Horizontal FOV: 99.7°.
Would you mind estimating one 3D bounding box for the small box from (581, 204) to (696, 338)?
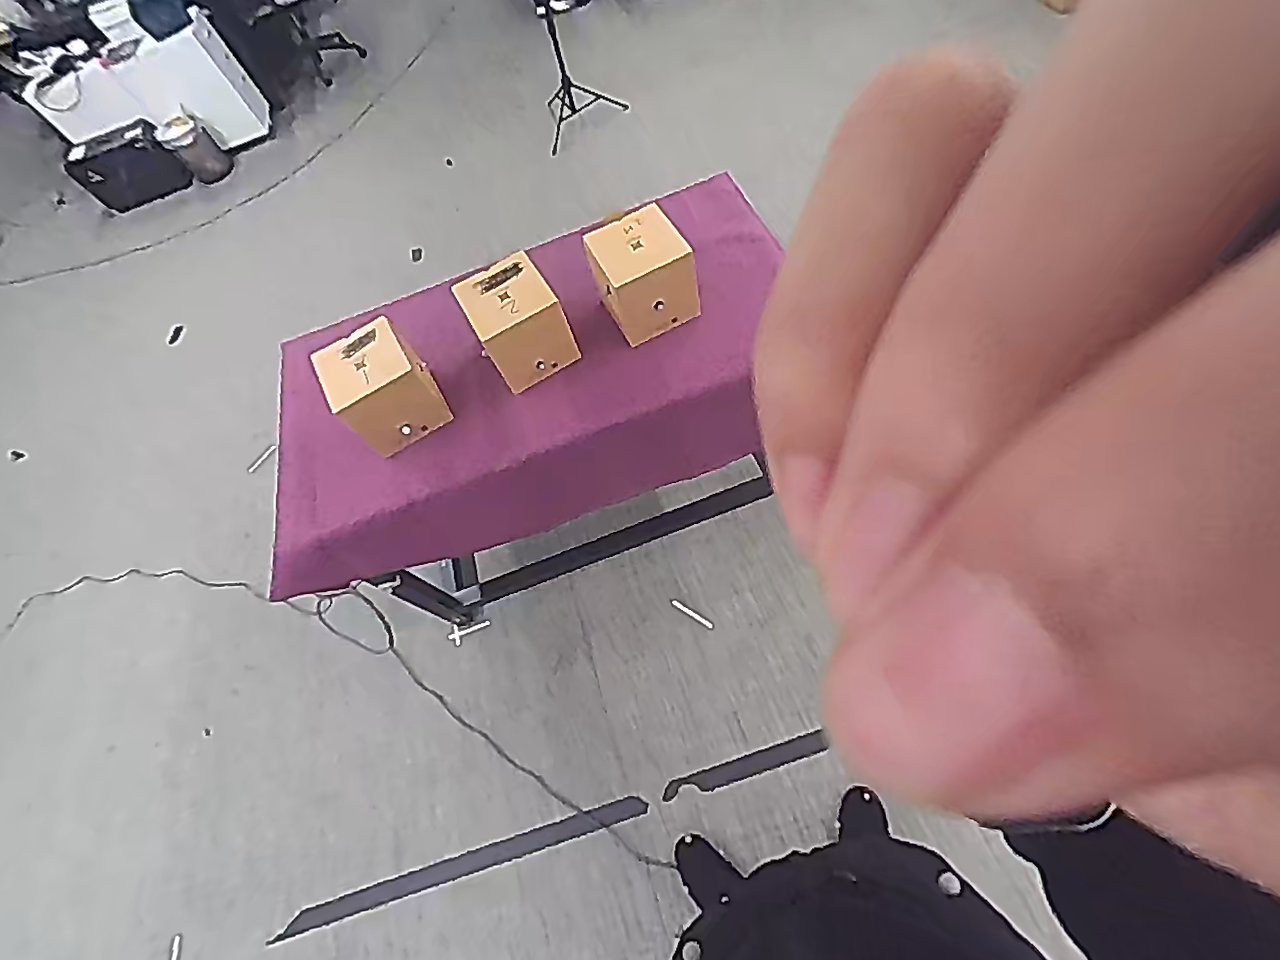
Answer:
[{"bbox_3d":[0.003,-0.417,1.108,0.168,0.176,0.179,-26,60,-3],"label":"small box"}]

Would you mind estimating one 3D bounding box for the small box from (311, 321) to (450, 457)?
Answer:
[{"bbox_3d":[-0.519,-0.179,1.096,0.168,0.176,0.179,-33,61,-6],"label":"small box"}]
